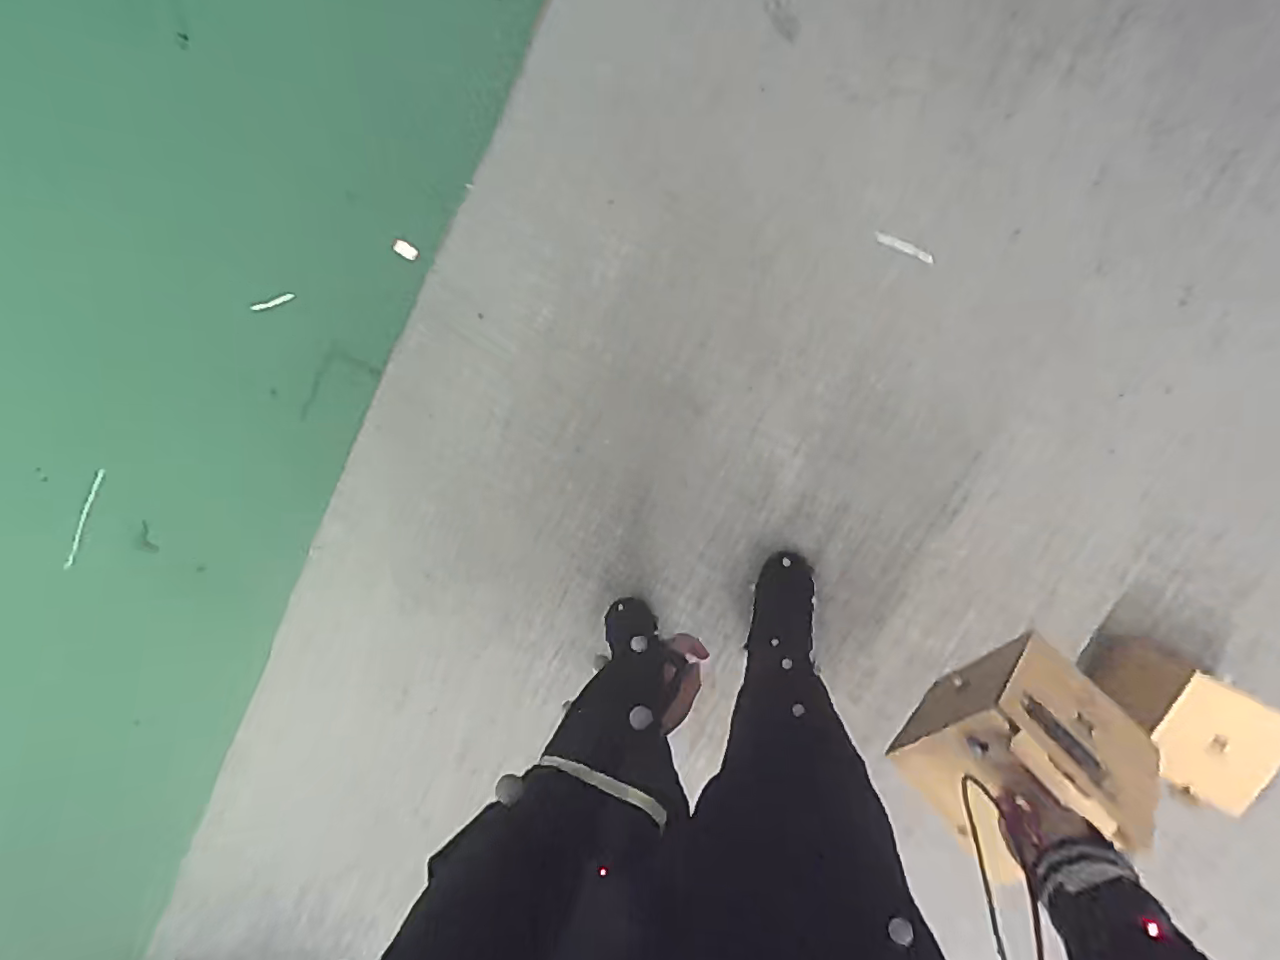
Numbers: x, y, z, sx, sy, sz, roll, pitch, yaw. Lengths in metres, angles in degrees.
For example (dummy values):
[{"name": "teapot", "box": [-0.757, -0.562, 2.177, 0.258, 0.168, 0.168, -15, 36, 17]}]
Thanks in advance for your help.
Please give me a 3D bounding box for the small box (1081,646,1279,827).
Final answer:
[{"name": "small box", "box": [0.890, 0.406, 0.892, 0.168, 0.176, 0.179, 27, 99, 8]}]
